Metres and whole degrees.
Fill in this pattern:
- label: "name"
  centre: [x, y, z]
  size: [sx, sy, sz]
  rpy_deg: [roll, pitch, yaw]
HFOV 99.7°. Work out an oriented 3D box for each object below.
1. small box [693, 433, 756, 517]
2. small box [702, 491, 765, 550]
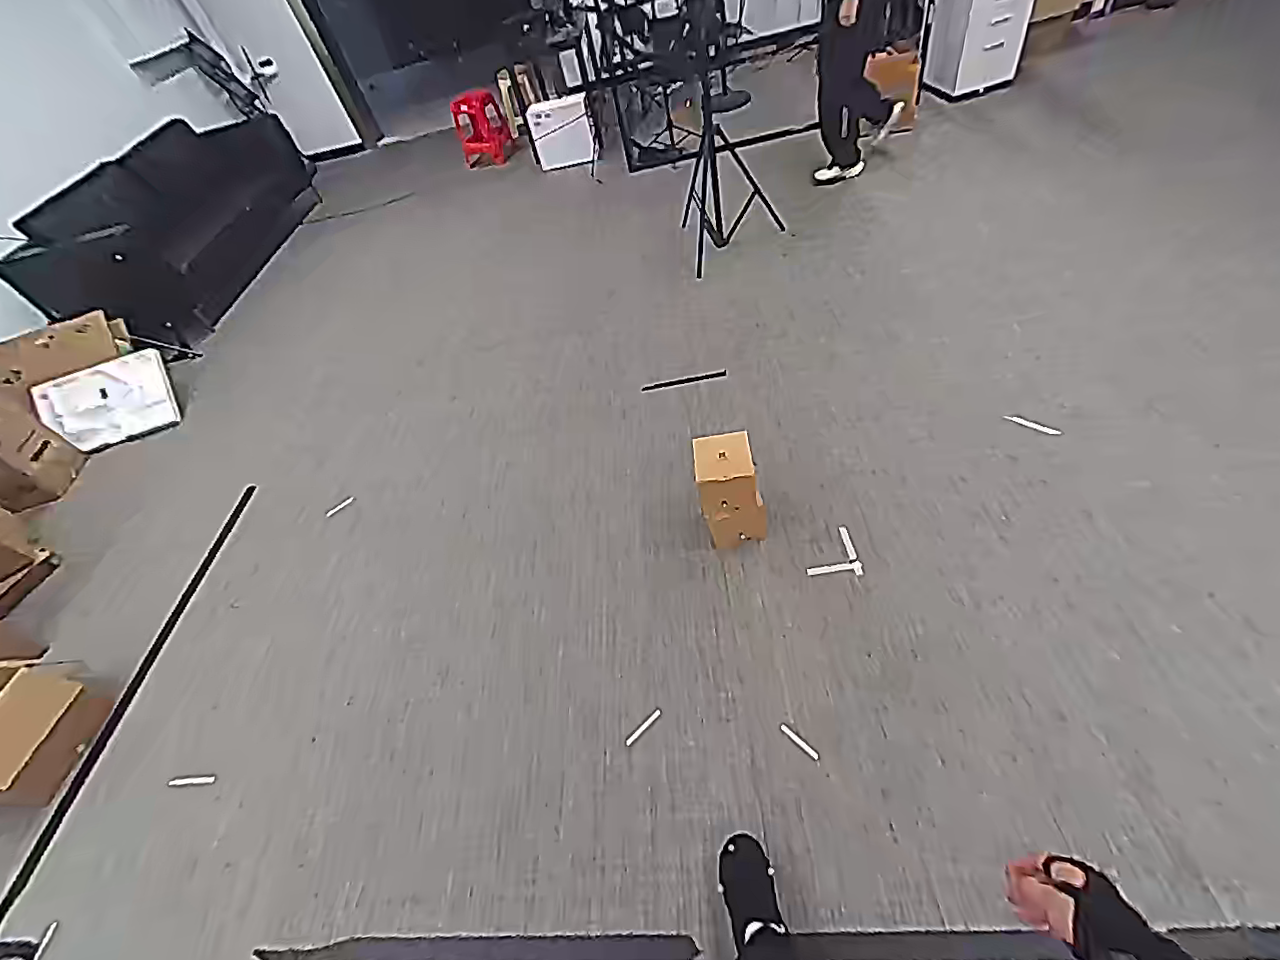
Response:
- label: "small box"
  centre: [0.251, -0.014, 1.613]
  size: [0.168, 0.176, 0.179]
  rpy_deg: [-8, 49, 8]
- label: "small box"
  centre: [0.291, 0.095, 1.729]
  size: [0.168, 0.176, 0.179]
  rpy_deg: [-18, 48, 0]
